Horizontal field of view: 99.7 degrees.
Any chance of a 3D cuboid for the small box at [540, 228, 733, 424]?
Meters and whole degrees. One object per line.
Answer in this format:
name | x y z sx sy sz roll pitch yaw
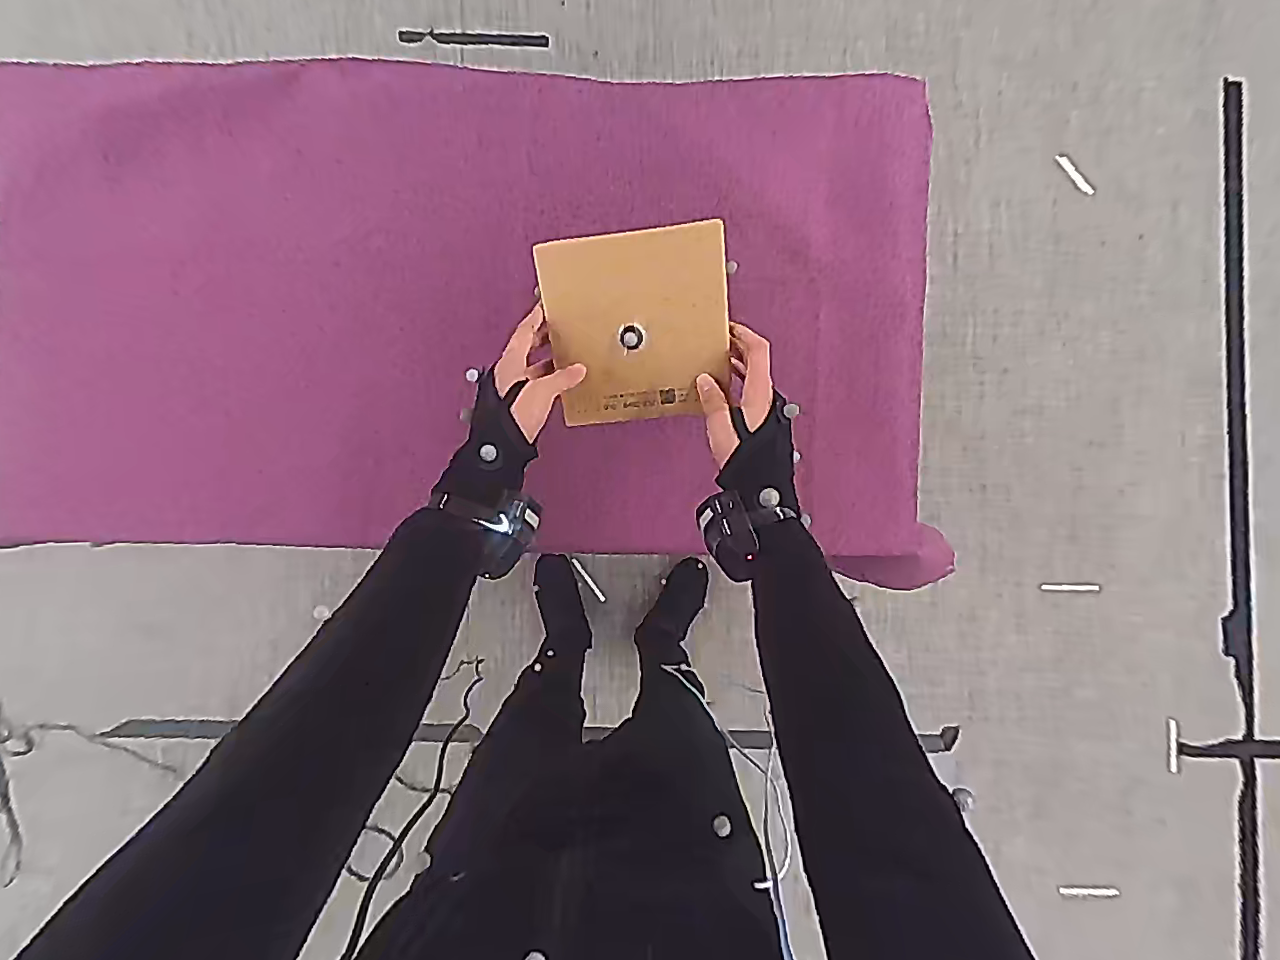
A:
small box | 0.009 -0.161 0.571 0.168 0.179 0.176 -3 116 7
